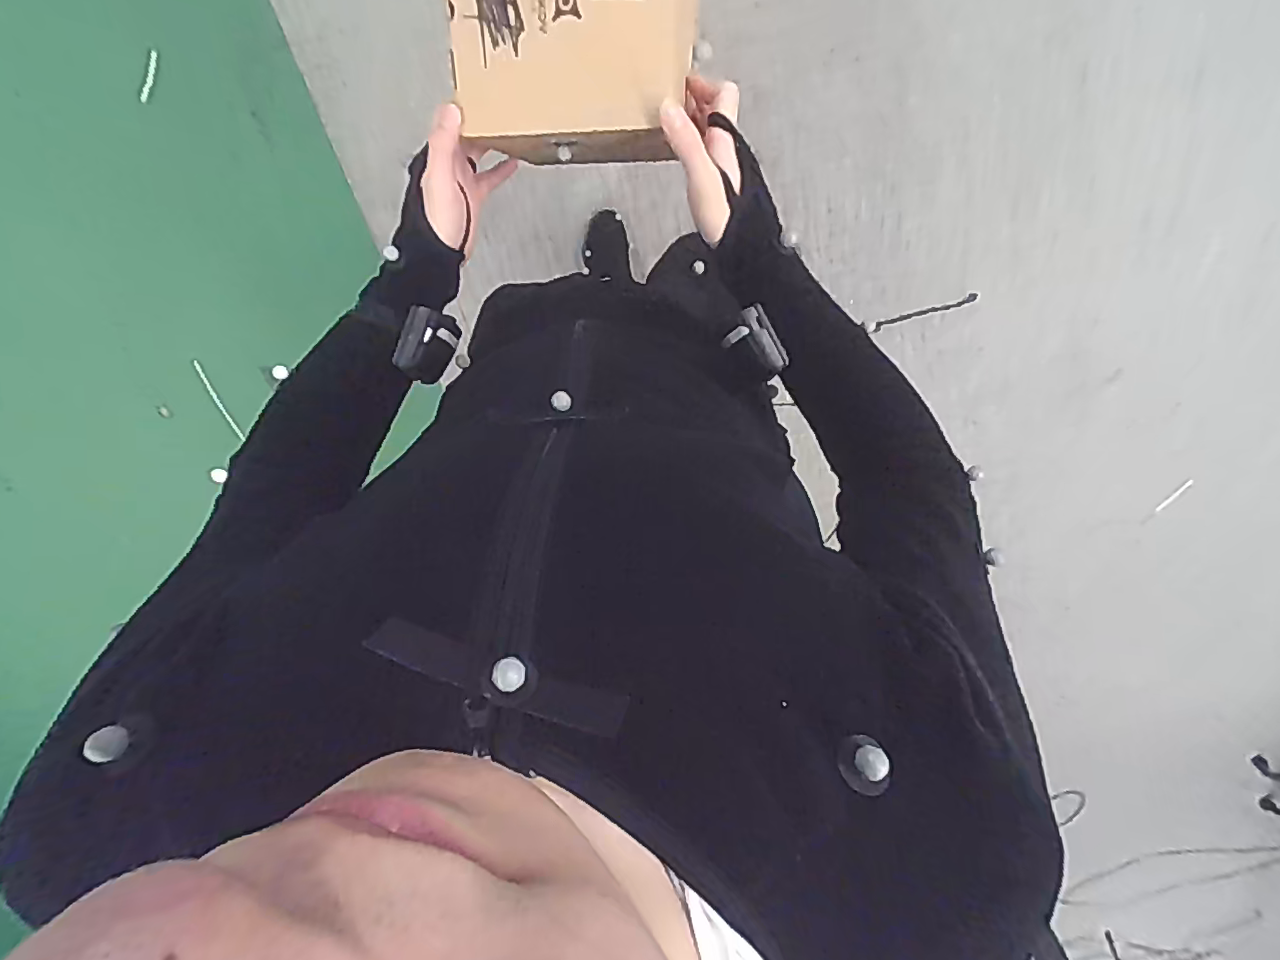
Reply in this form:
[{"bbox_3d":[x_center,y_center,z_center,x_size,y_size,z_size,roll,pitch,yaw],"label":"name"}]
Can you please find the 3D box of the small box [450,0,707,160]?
[{"bbox_3d":[-0.041,-0.376,0.455,0.179,0.176,0.168,4,114,9],"label":"small box"}]
